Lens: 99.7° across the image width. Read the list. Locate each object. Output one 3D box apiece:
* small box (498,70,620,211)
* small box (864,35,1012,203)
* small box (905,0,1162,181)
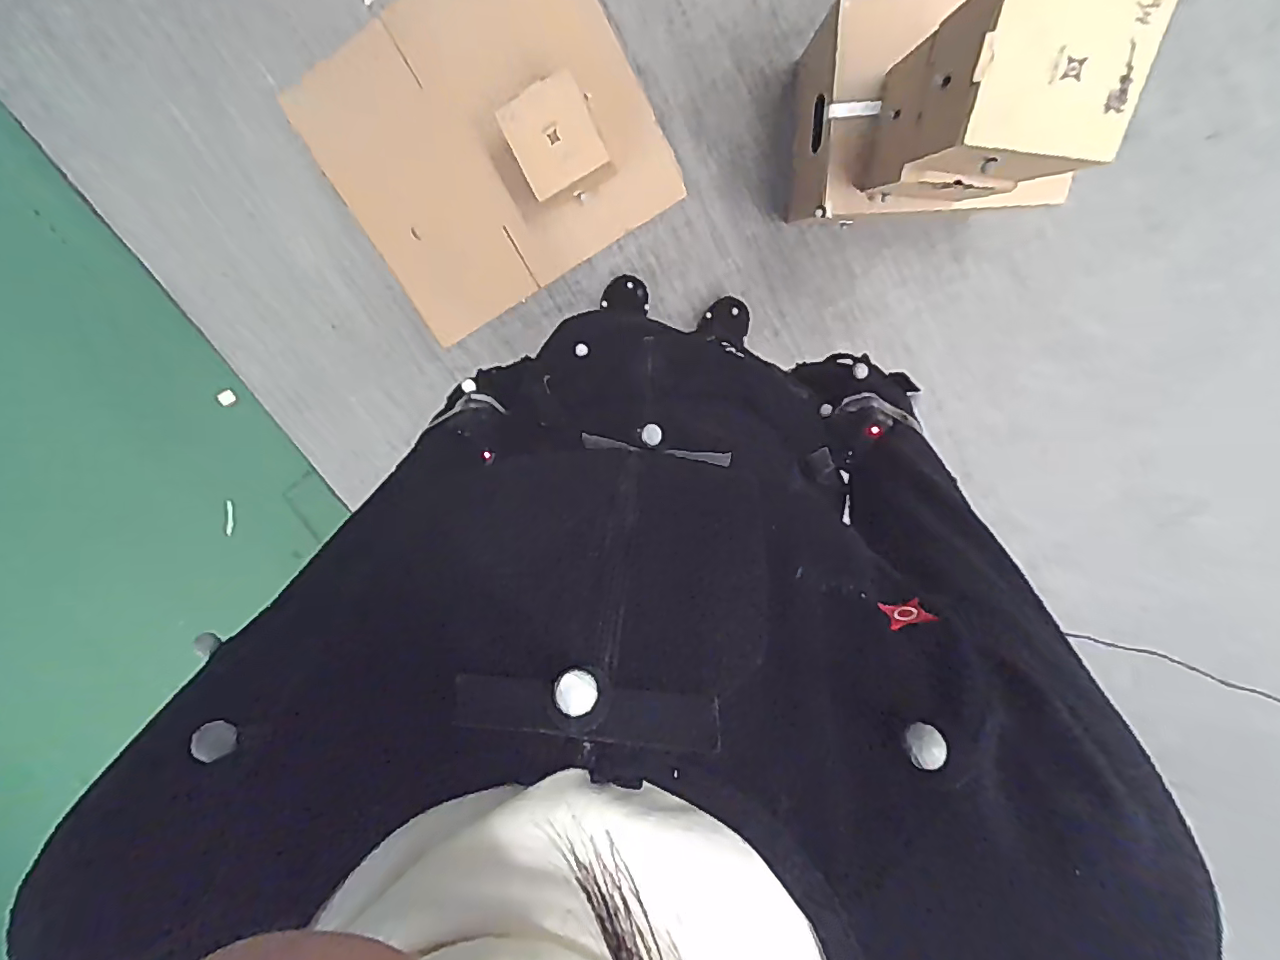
[{"bbox_3d":[-0.156,-0.677,1.105,0.168,0.176,0.179,-24,109,14],"label":"small box"},{"bbox_3d":[0.455,-0.523,0.809,0.168,0.176,0.179,6,112,1],"label":"small box"},{"bbox_3d":[0.452,-0.473,0.656,0.179,0.176,0.168,4,111,1],"label":"small box"}]
